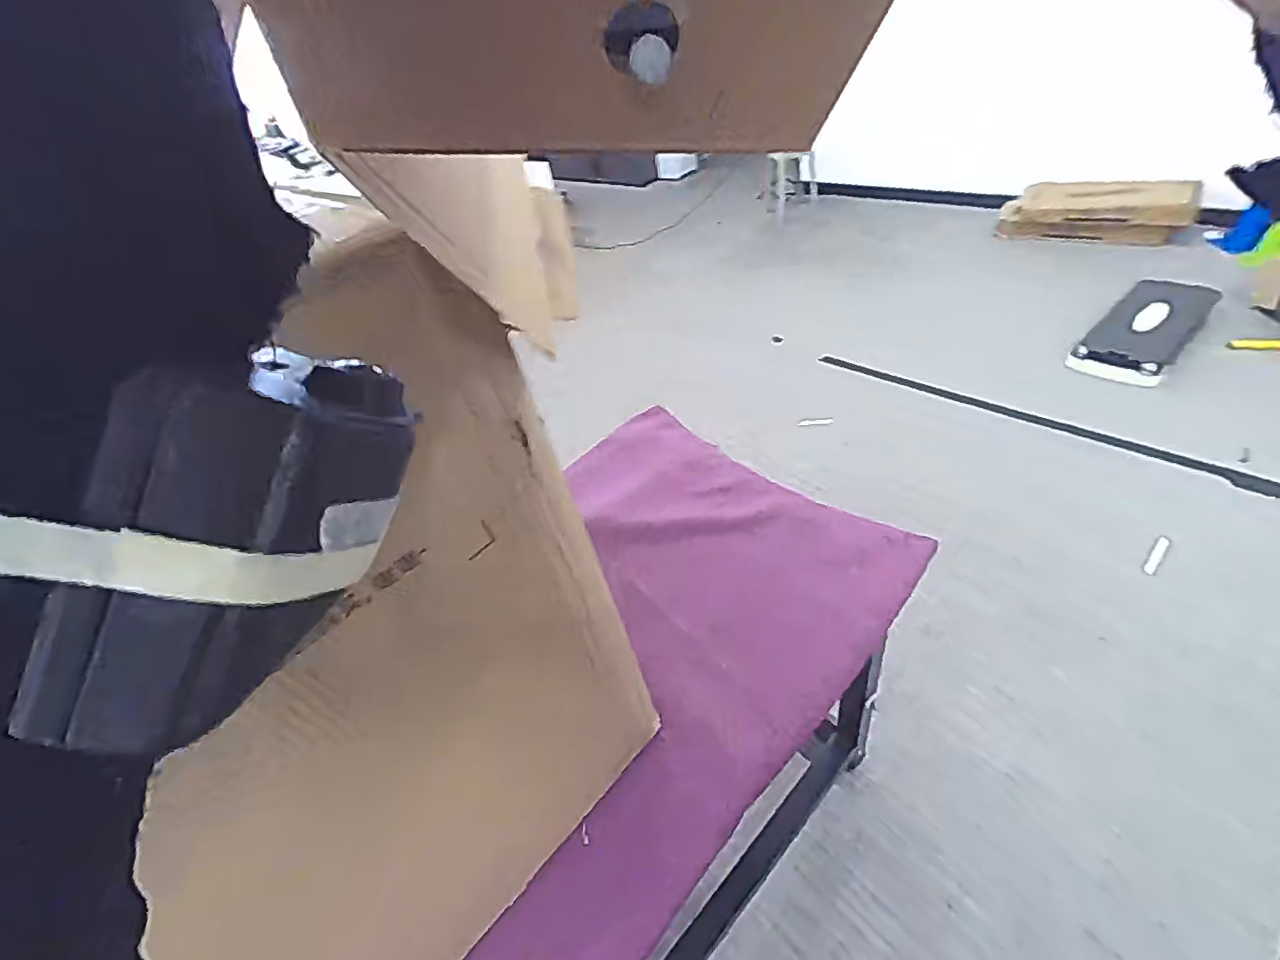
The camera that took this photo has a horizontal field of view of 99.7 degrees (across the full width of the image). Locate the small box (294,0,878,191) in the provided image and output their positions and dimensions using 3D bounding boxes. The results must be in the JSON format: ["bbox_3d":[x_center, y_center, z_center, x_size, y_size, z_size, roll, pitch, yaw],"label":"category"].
[{"bbox_3d":[-0.015,-0.209,0.142,0.179,0.176,0.168,-7,76,-13],"label":"small box"}]
